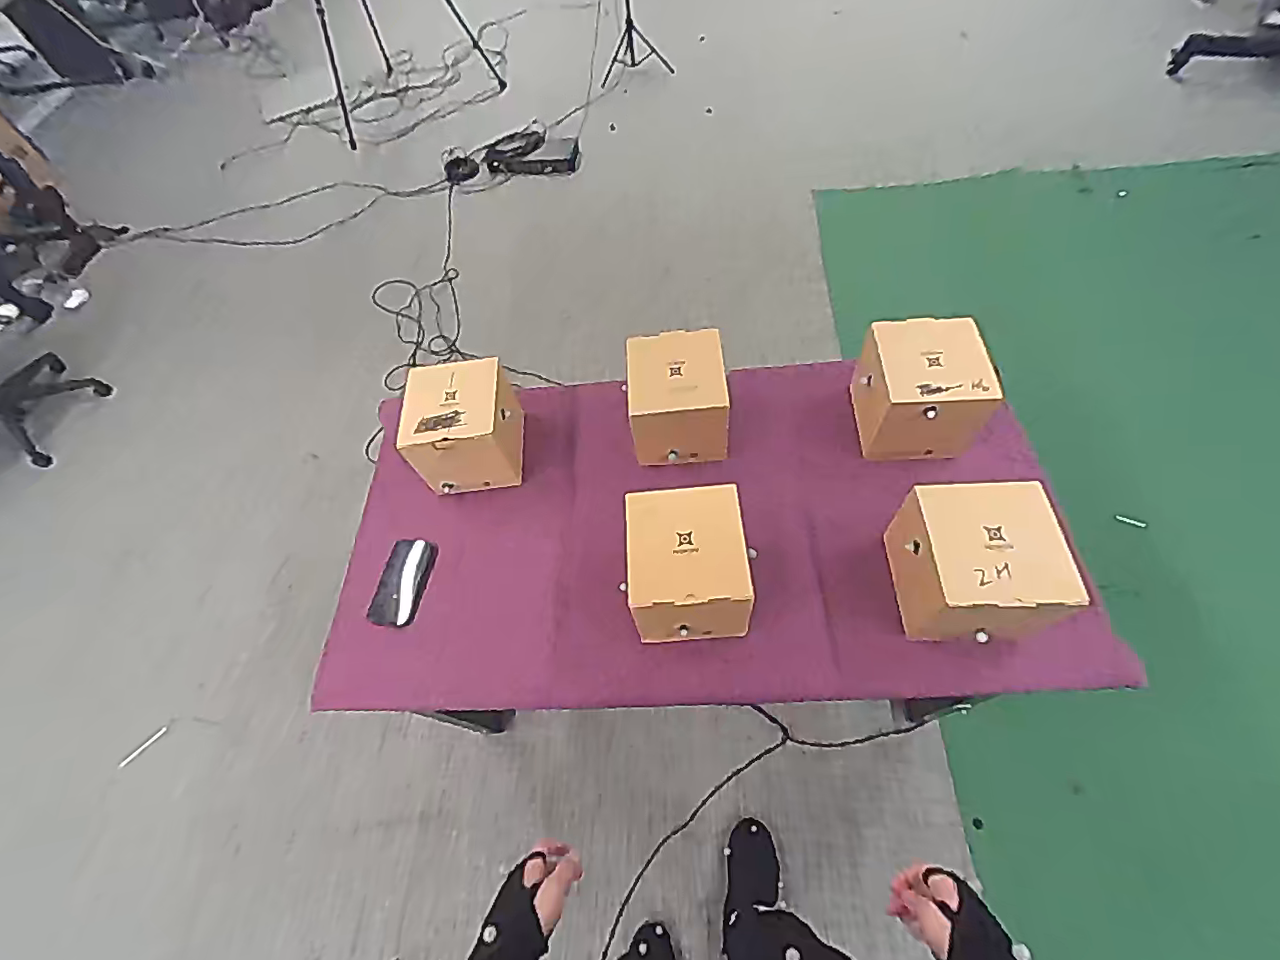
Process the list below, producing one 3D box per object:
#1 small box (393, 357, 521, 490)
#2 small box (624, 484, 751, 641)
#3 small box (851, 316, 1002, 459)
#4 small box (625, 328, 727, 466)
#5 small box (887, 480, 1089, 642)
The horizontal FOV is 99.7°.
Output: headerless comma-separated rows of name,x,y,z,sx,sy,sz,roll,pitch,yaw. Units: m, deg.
small box,-0.322,-0.094,0.989,0.168,0.176,0.179,-7,58,2
small box,0.067,0.127,0.809,0.168,0.176,0.179,-5,58,4
small box,0.472,-0.154,0.926,0.168,0.176,0.179,-2,59,7
small box,0.064,-0.145,0.973,0.168,0.176,0.179,-5,60,5
small box,0.464,0.117,0.760,0.168,0.176,0.179,-2,59,7
